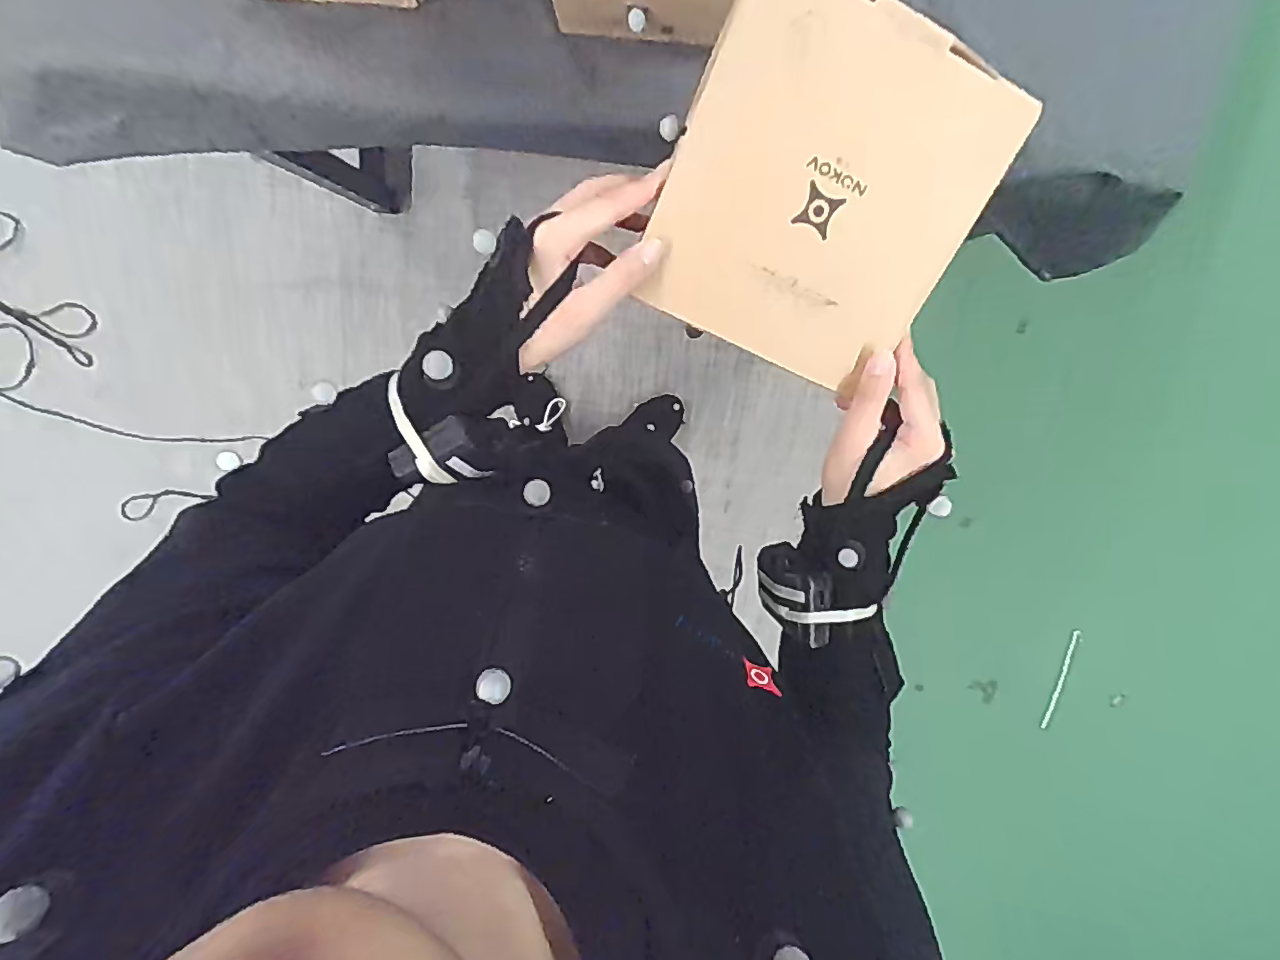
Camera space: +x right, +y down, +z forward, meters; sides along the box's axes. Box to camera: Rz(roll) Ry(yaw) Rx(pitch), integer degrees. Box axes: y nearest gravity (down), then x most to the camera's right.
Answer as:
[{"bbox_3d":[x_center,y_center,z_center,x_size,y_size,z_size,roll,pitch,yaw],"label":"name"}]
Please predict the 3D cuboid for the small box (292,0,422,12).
[{"bbox_3d":[-0.282,-0.526,0.425,0.168,0.176,0.179,3,104,-1],"label":"small box"}]

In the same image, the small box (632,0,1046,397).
[{"bbox_3d":[0.099,-0.184,0.364,0.168,0.176,0.179,22,111,-10],"label":"small box"}]

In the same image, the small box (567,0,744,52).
[{"bbox_3d":[0.016,-0.490,0.427,0.168,0.176,0.179,4,103,0],"label":"small box"}]
